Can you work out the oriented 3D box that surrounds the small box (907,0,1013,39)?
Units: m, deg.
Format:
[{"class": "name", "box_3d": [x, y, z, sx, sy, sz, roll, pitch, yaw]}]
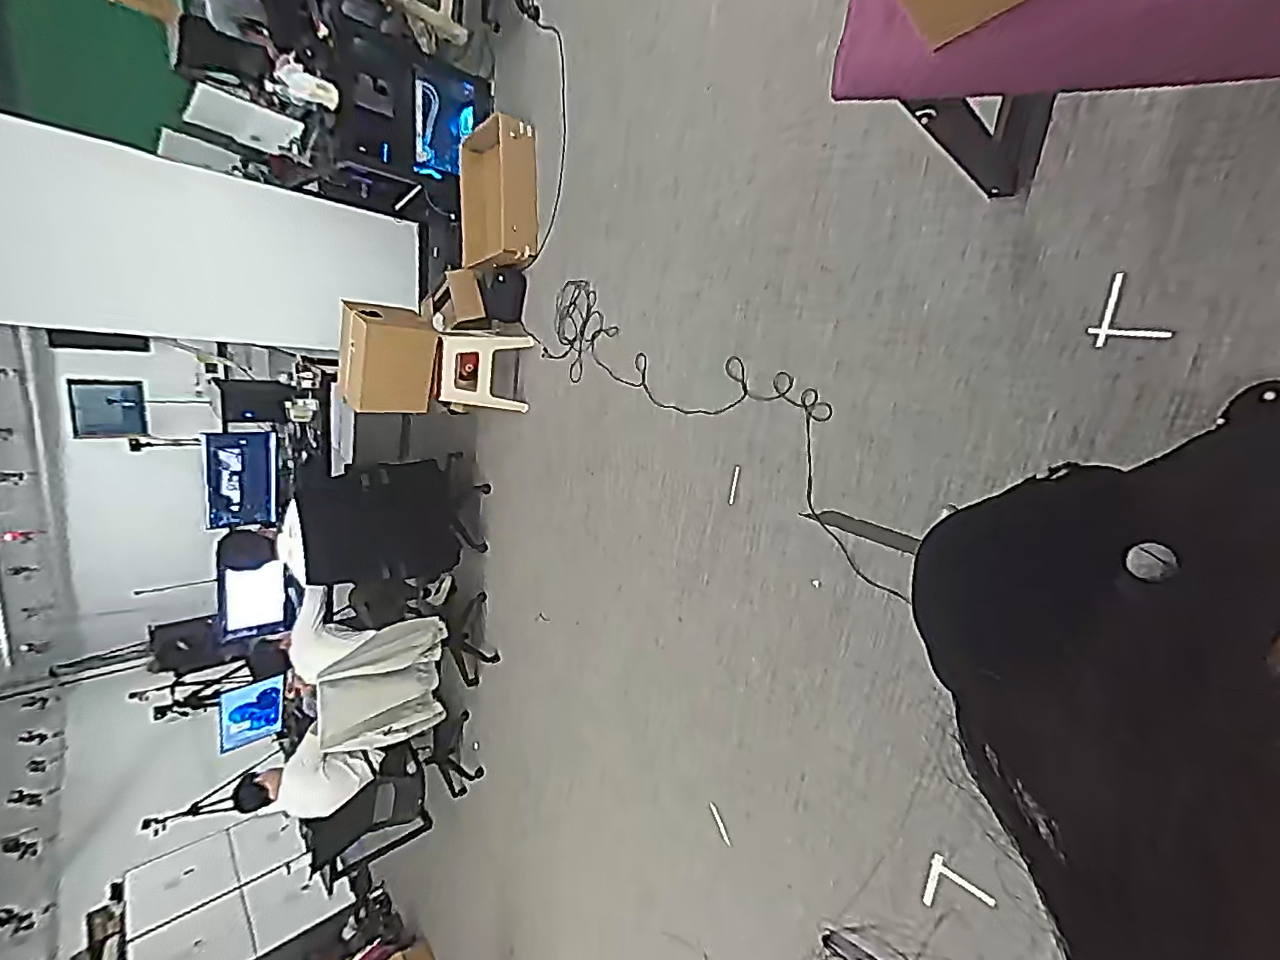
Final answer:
[{"class": "small box", "box_3d": [0.385, -0.649, 0.590, 0.179, 0.176, 0.168, -4, 91, 45]}]
